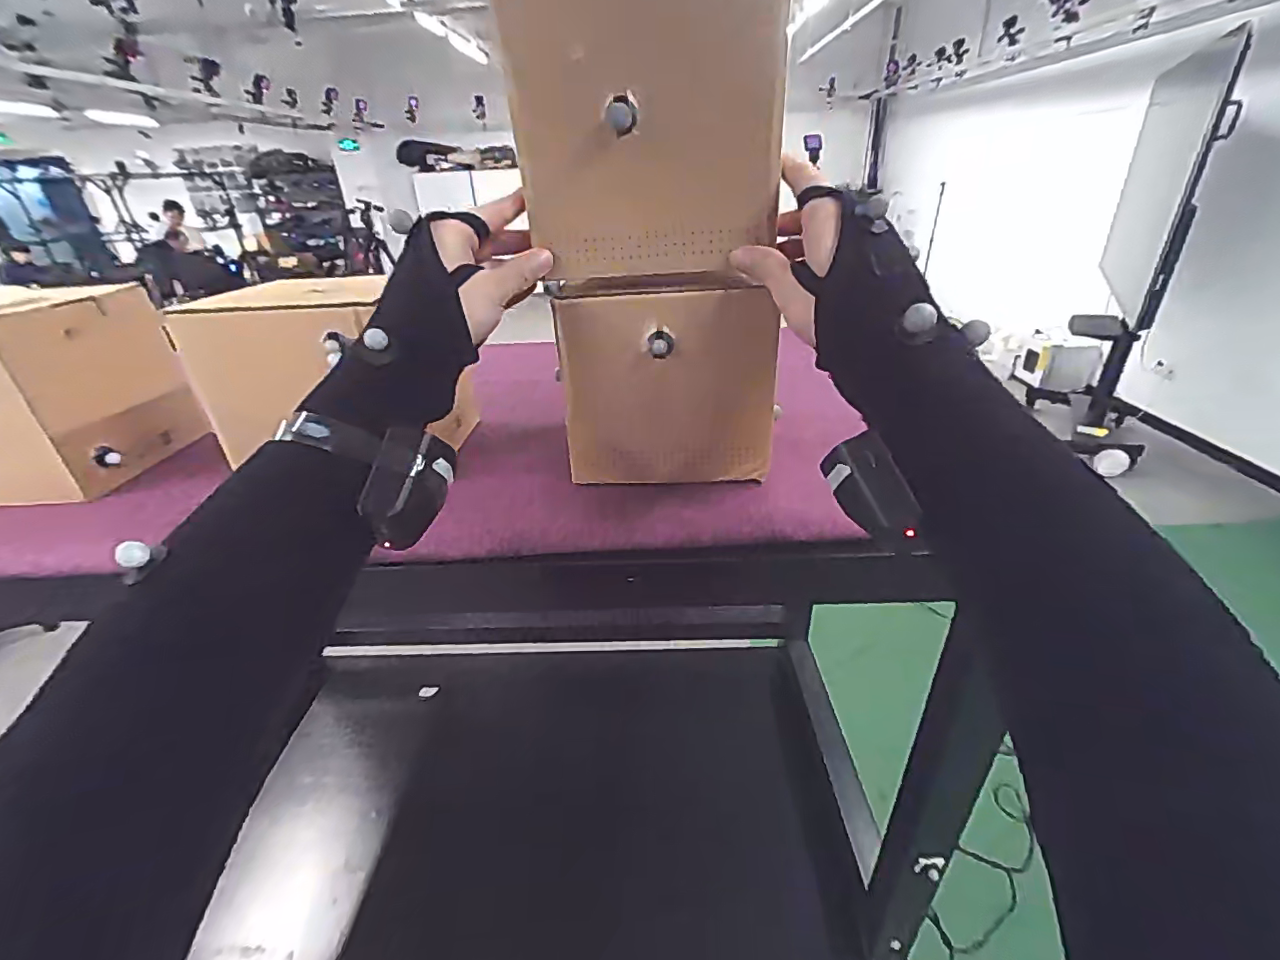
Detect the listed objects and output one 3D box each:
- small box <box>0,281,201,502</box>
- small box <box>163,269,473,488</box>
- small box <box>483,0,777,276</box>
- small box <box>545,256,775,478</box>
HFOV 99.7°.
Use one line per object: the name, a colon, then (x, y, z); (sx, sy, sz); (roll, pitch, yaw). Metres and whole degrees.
small box: (-0.591, -0.087, 0.525); (0.179, 0.176, 0.168); (-4, 29, 0)
small box: (-0.282, -0.101, 0.524); (0.179, 0.176, 0.168); (-2, 29, 1)
small box: (0.007, -0.263, 0.413); (0.179, 0.176, 0.168); (-3, 35, 6)
small box: (0.024, -0.110, 0.506); (0.179, 0.176, 0.168); (-1, 30, 5)
